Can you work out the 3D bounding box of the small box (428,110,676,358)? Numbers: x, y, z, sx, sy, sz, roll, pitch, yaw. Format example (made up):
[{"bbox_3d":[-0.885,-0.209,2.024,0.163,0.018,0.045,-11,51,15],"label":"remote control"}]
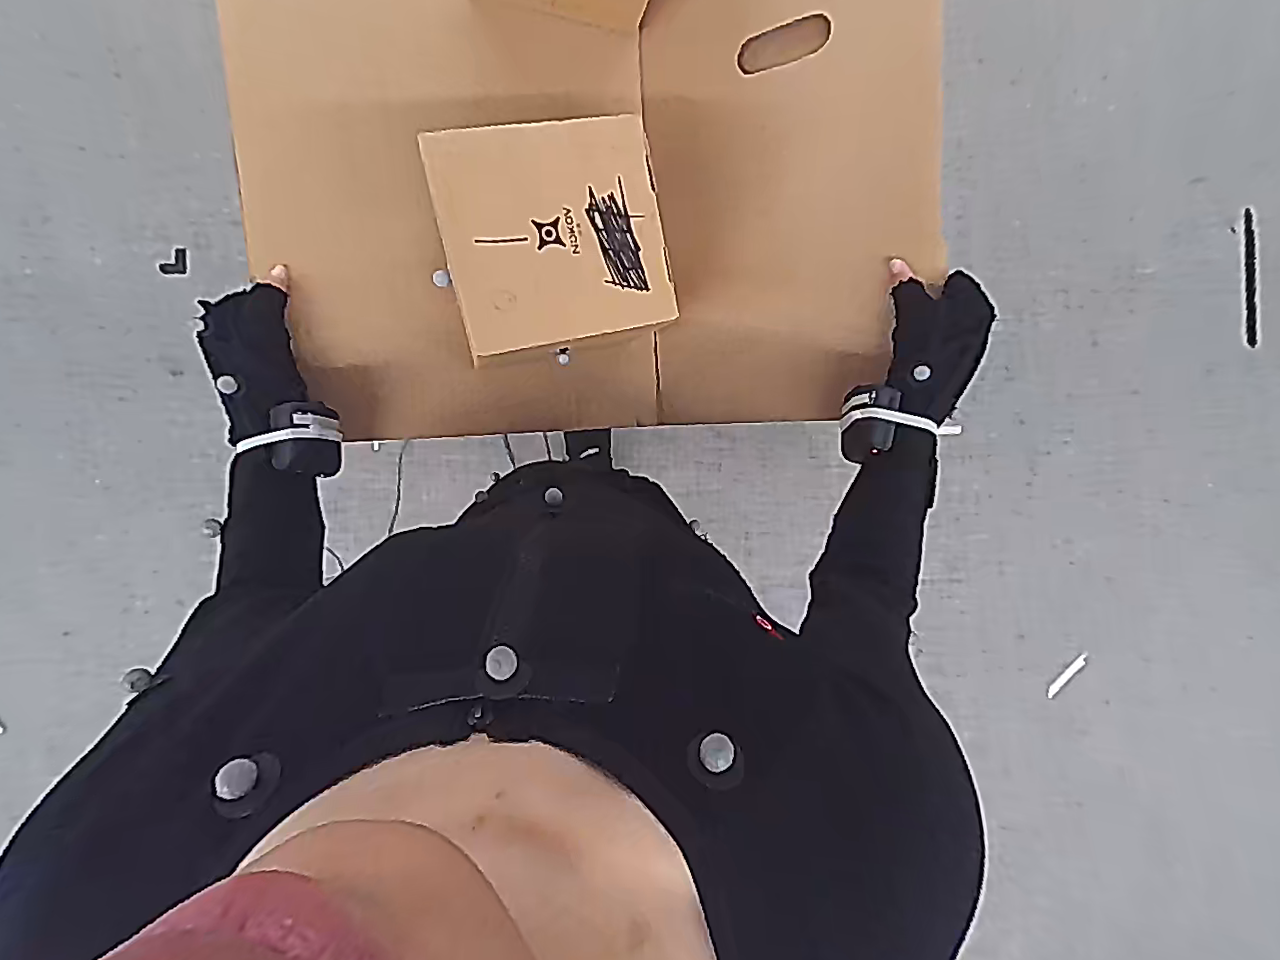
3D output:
[{"bbox_3d":[-0.086,-0.217,0.514,0.179,0.176,0.168,-14,101,-13],"label":"small box"}]

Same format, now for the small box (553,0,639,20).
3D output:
[{"bbox_3d":[-0.060,-0.565,0.479,0.179,0.176,0.168,1,97,-17],"label":"small box"}]
